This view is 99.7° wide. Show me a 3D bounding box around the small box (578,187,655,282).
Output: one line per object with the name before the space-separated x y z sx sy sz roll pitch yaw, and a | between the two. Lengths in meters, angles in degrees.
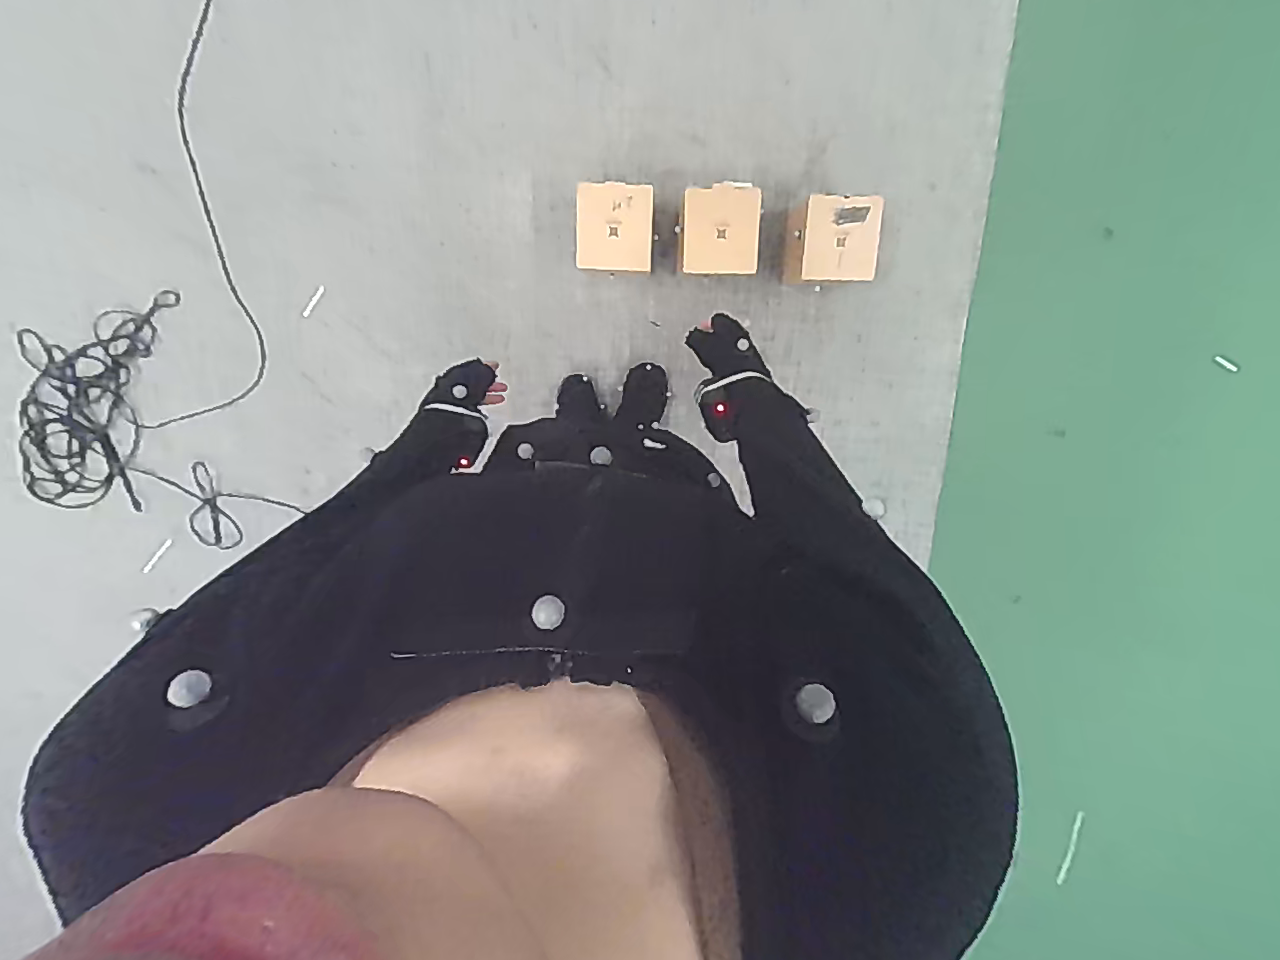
small box | -0.053 -0.557 1.247 0.168 0.176 0.179 2 105 -2

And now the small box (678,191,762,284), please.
small box | 0.179 -0.553 1.253 0.168 0.176 0.179 0 105 -1

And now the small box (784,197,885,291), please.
small box | 0.443 -0.542 1.258 0.168 0.176 0.179 1 106 -1
